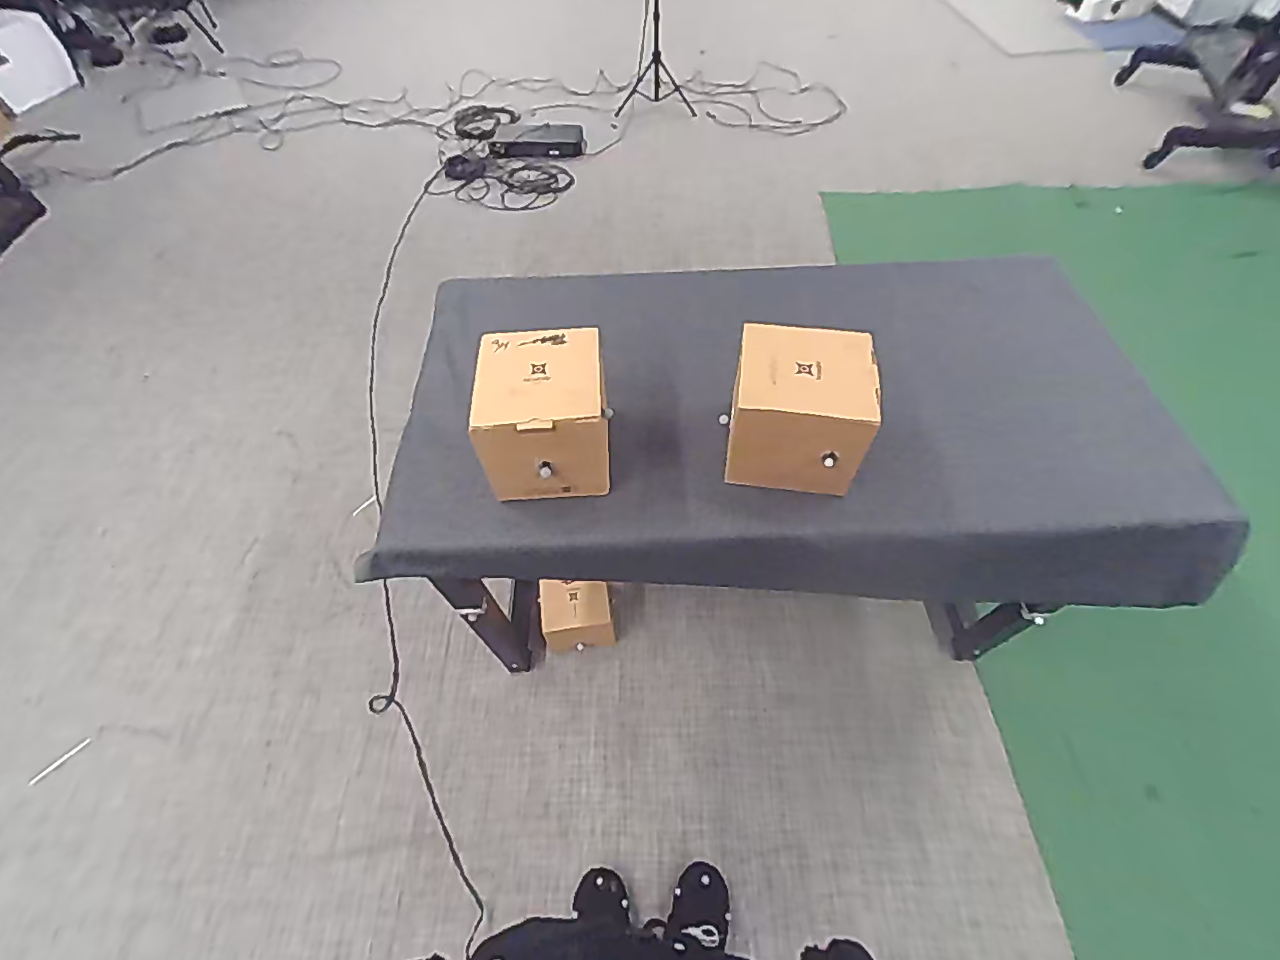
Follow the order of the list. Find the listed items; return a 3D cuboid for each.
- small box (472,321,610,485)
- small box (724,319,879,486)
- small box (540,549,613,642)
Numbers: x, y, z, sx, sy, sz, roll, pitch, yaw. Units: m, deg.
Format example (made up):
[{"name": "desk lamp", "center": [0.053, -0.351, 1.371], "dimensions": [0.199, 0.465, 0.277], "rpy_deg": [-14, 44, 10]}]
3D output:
[{"name": "small box", "center": [-0.131, -0.103, 0.780], "dimensions": [0.168, 0.176, 0.179], "rpy_deg": [-3, 56, -2]}, {"name": "small box", "center": [0.222, -0.106, 0.778], "dimensions": [0.179, 0.176, 0.168], "rpy_deg": [6, 55, 6]}, {"name": "small box", "center": [-0.161, 0.300, 1.391], "dimensions": [0.168, 0.176, 0.179], "rpy_deg": [-8, 58, -3]}]
